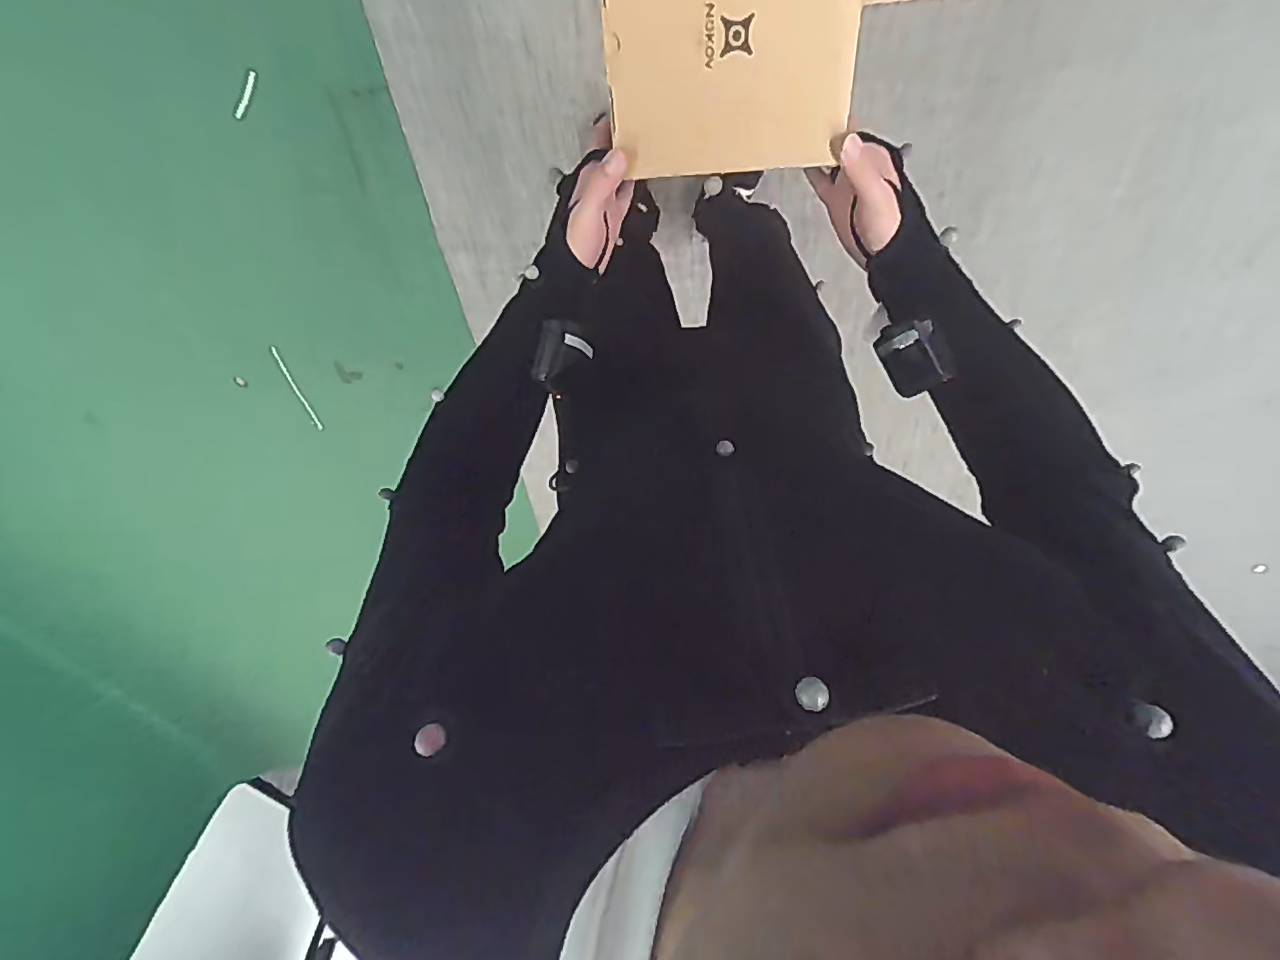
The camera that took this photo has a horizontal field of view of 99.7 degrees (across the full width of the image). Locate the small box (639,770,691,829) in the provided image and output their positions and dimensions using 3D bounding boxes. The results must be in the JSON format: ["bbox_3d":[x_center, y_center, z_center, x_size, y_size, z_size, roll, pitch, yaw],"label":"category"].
[{"bbox_3d":[0.086,1.133,1.888,0.179,0.176,0.168,3,133,3],"label":"small box"}]

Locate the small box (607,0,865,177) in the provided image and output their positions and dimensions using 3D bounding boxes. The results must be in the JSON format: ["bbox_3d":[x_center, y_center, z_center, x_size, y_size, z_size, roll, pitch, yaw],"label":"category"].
[{"bbox_3d":[0.071,-0.353,0.442,0.179,0.176,0.168,0,123,6],"label":"small box"}]

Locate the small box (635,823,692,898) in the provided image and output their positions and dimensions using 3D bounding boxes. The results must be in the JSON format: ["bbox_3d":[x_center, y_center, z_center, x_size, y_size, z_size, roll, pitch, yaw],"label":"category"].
[{"bbox_3d":[0.076,1.241,1.766,0.179,0.176,0.168,2,132,3],"label":"small box"}]
